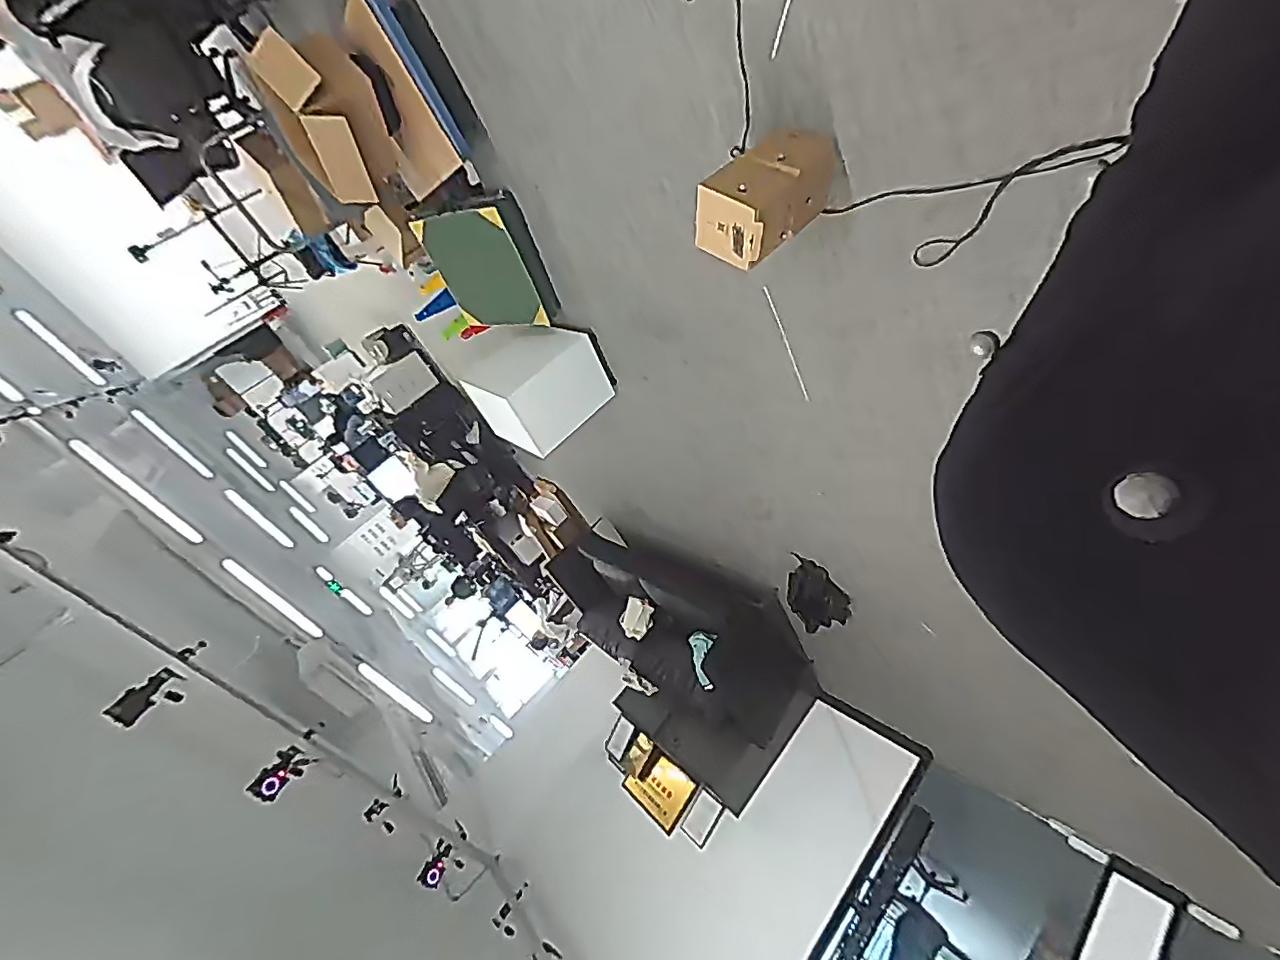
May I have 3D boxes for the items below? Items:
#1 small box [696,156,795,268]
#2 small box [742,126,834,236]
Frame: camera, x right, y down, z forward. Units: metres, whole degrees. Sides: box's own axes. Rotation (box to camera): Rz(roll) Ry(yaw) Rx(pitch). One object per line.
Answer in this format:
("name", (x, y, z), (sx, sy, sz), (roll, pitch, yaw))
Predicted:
("small box", (0.260, -0.671, 1.345), (0.179, 0.176, 0.168), (37, 157, 23))
("small box", (0.377, -0.775, 1.397), (0.168, 0.176, 0.179), (34, 156, 27))
